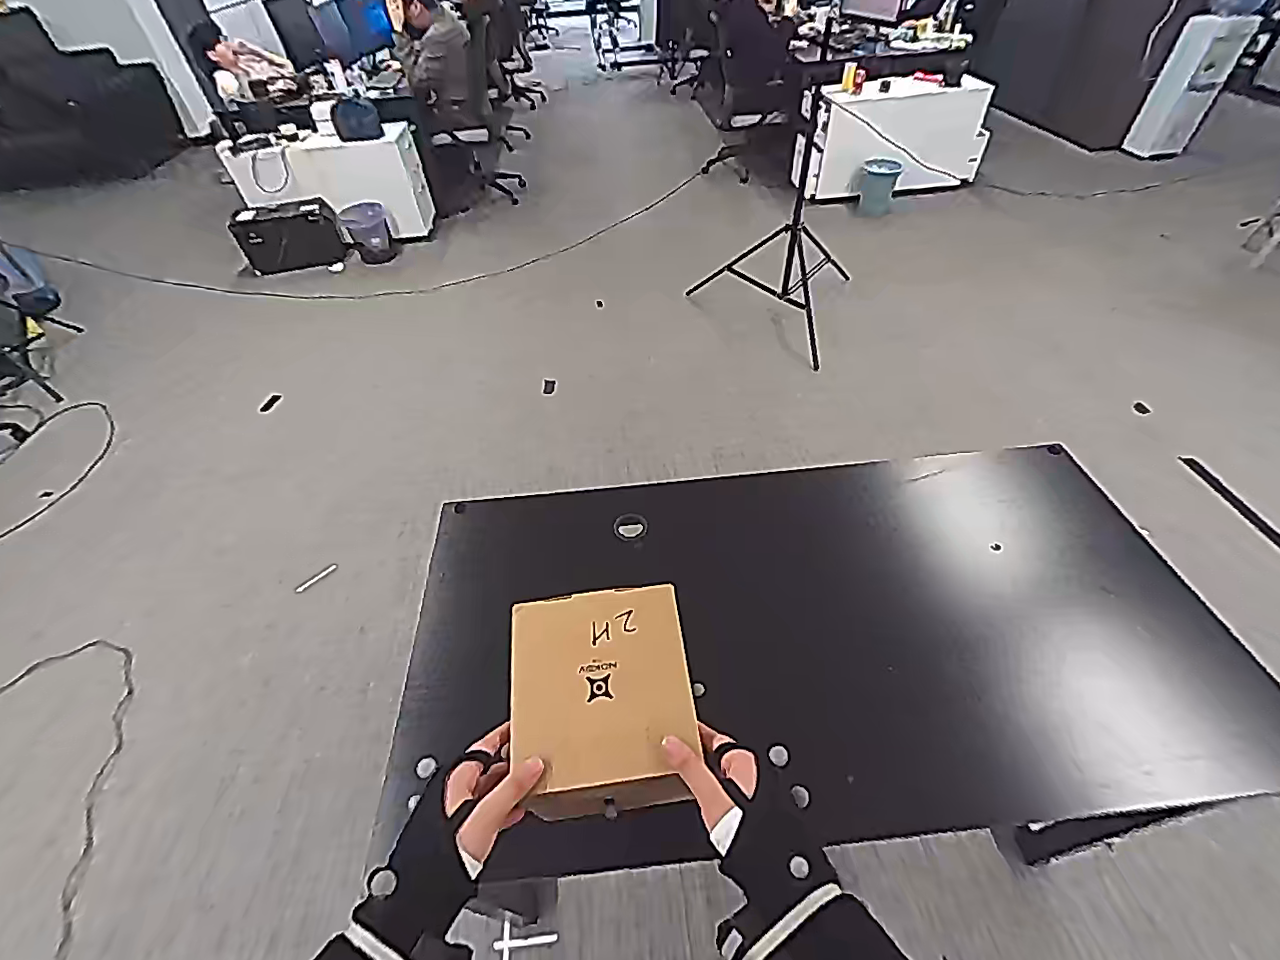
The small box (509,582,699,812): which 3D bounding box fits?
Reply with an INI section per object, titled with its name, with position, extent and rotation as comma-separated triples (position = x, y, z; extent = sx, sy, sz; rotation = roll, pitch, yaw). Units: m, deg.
[small box]
position = -0.034, 0.232, 0.563
extent = 0.168, 0.176, 0.179
rotation = -8, 51, -2
